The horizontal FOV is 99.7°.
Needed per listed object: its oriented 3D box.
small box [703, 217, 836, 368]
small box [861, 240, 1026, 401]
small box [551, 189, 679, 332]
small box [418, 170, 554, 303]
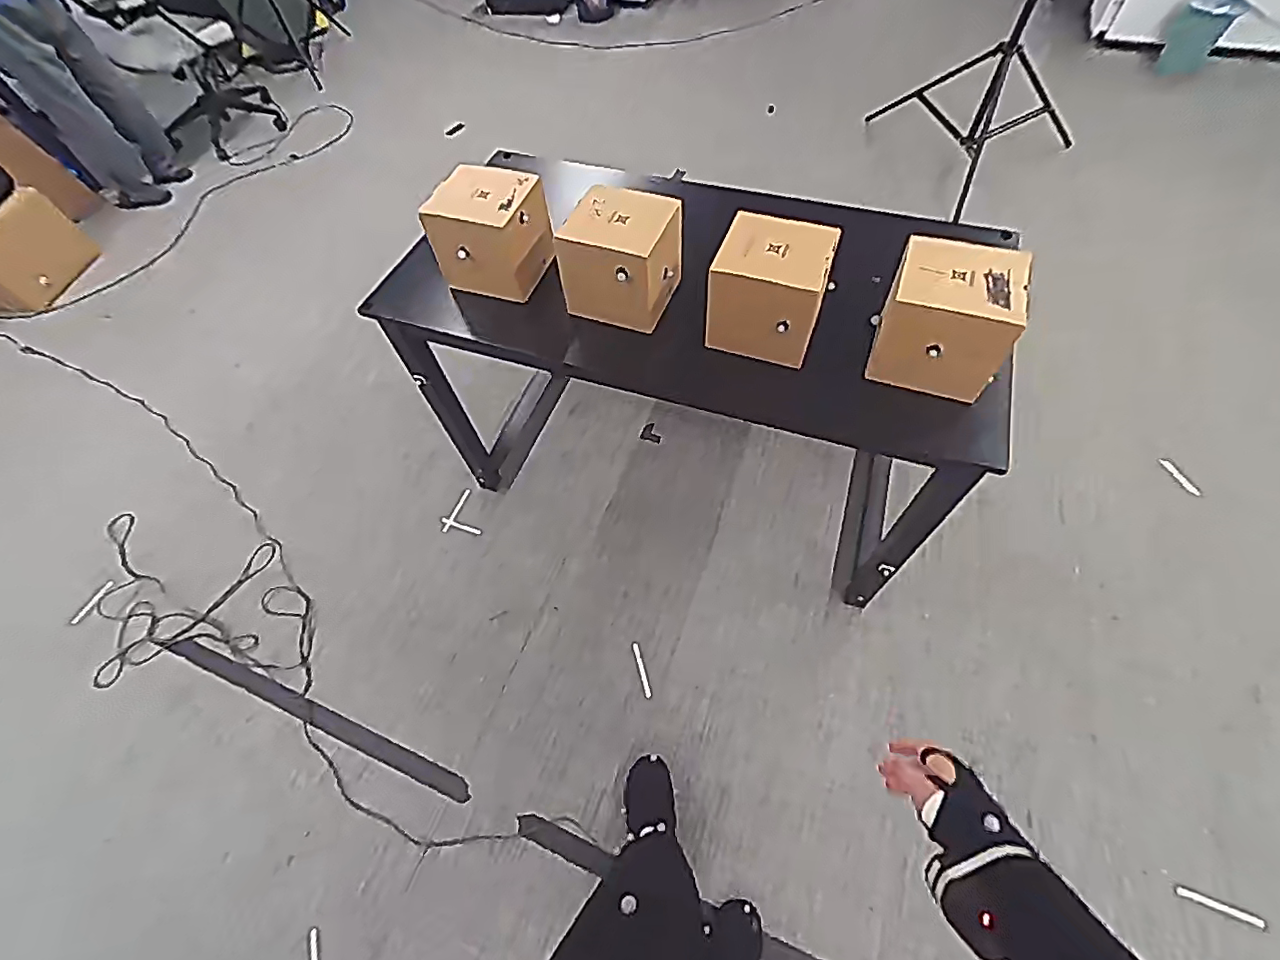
[{"bbox_3d":[0.217,-0.319,0.934,0.179,0.176,0.168,16,60,14],"label":"small box"},{"bbox_3d":[0.481,-0.251,0.871,0.179,0.176,0.168,17,61,16],"label":"small box"},{"bbox_3d":[-0.036,-0.399,0.998,0.179,0.176,0.168,18,61,14],"label":"small box"},{"bbox_3d":[-0.291,-0.474,1.062,0.179,0.176,0.168,14,61,13],"label":"small box"}]
